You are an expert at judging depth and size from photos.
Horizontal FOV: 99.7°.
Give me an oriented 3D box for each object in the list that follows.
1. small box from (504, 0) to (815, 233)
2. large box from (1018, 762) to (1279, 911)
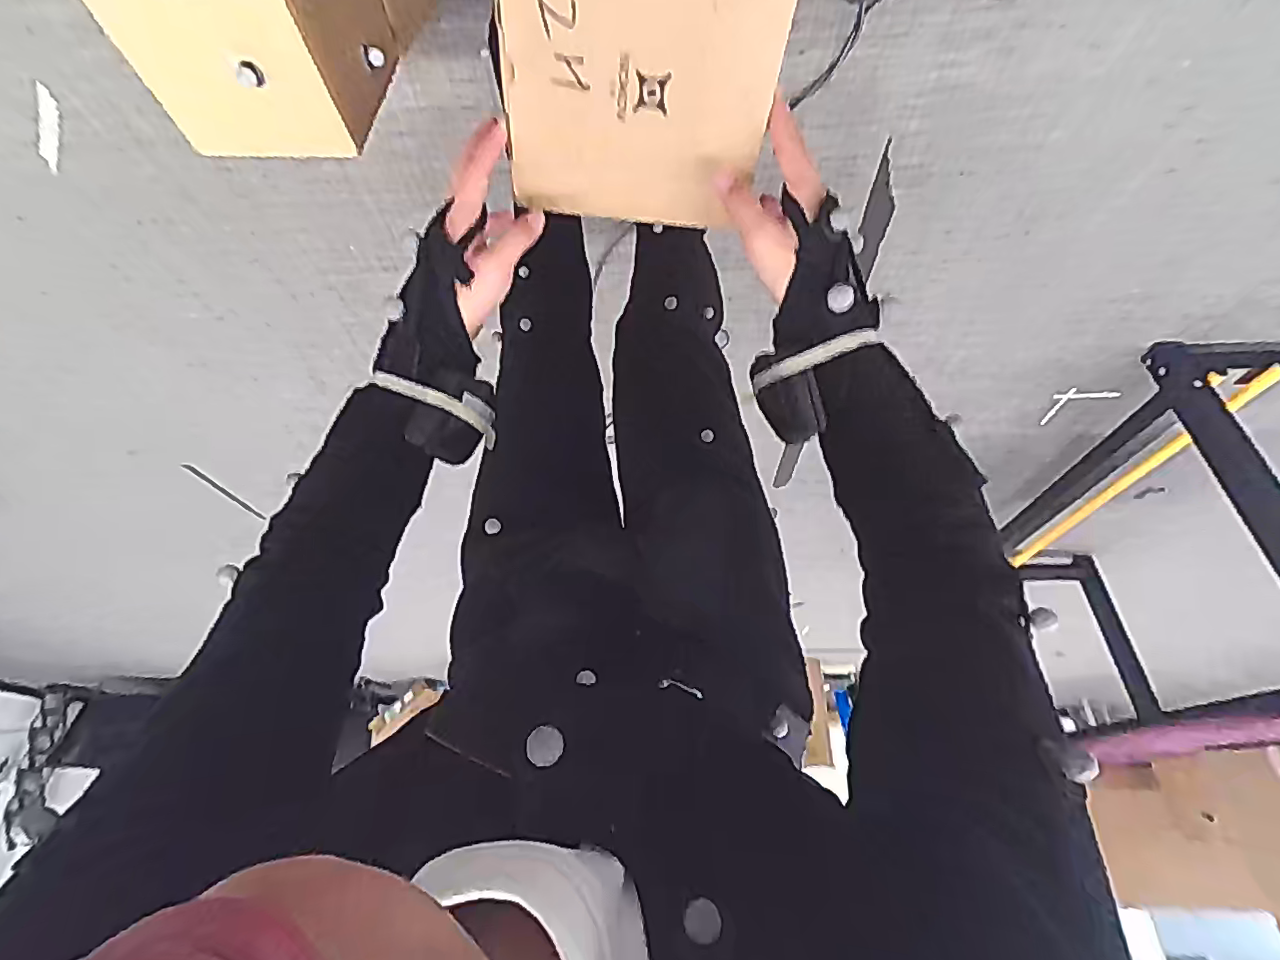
[{"bbox_3d":[0.007,-0.303,0.386,0.179,0.176,0.168,5,140,-3],"label":"small box"},{"bbox_3d":[1.353,0.952,1.460,0.408,0.320,0.320,-2,149,3],"label":"large box"}]
